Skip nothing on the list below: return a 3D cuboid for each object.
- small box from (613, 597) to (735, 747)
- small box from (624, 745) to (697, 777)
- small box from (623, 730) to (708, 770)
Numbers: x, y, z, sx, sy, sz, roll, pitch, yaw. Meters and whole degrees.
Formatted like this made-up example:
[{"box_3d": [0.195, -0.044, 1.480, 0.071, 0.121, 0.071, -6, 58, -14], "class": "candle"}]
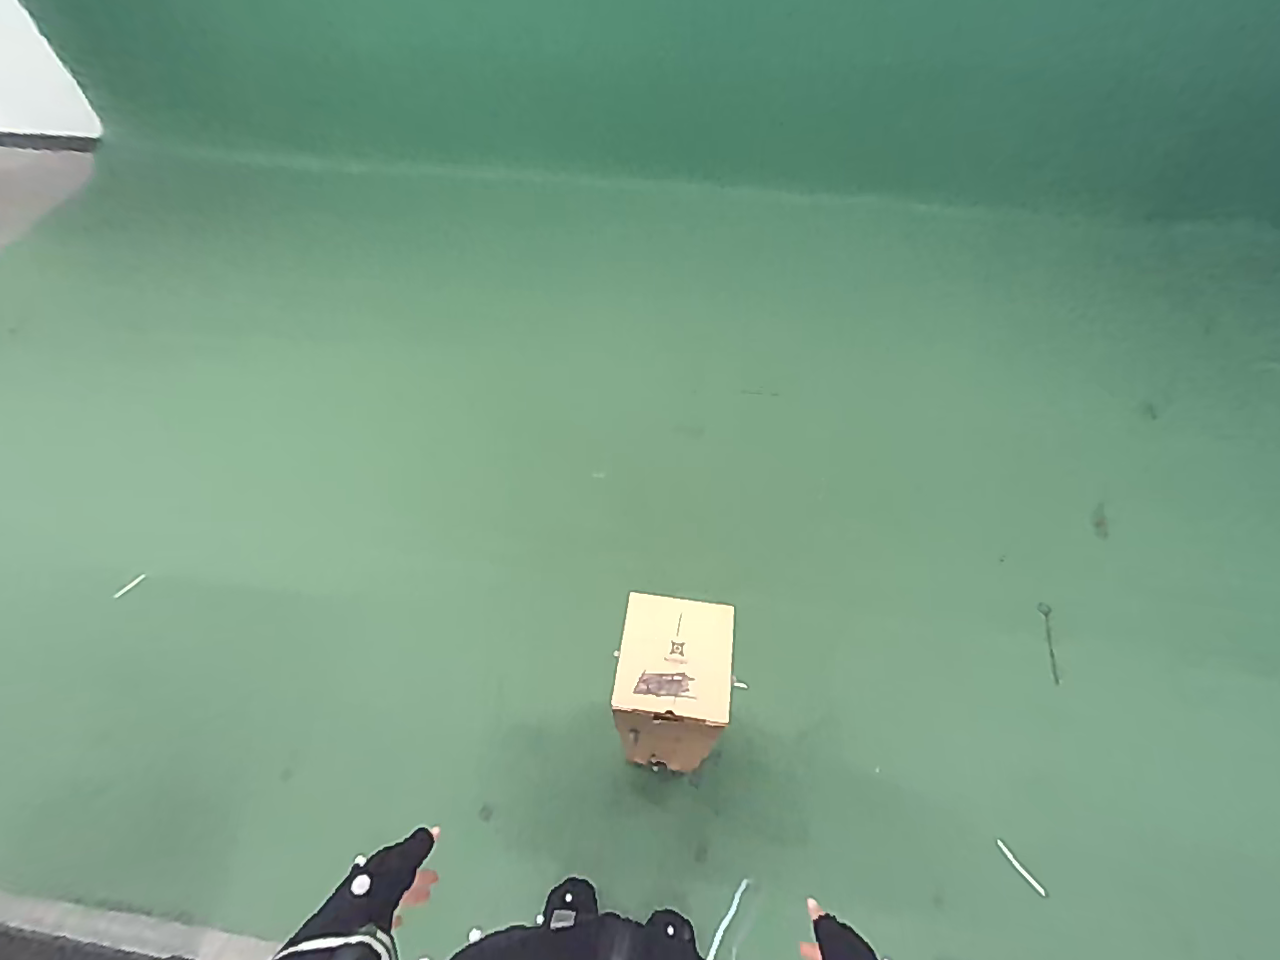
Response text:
[{"box_3d": [0.055, 0.309, 0.859, 0.168, 0.176, 0.179, 7, 54, 5], "class": "small box"}, {"box_3d": [0.059, 0.578, 1.272, 0.168, 0.176, 0.179, 8, 56, 7], "class": "small box"}, {"box_3d": [0.058, 0.491, 1.134, 0.168, 0.176, 0.179, 7, 56, 4], "class": "small box"}]
